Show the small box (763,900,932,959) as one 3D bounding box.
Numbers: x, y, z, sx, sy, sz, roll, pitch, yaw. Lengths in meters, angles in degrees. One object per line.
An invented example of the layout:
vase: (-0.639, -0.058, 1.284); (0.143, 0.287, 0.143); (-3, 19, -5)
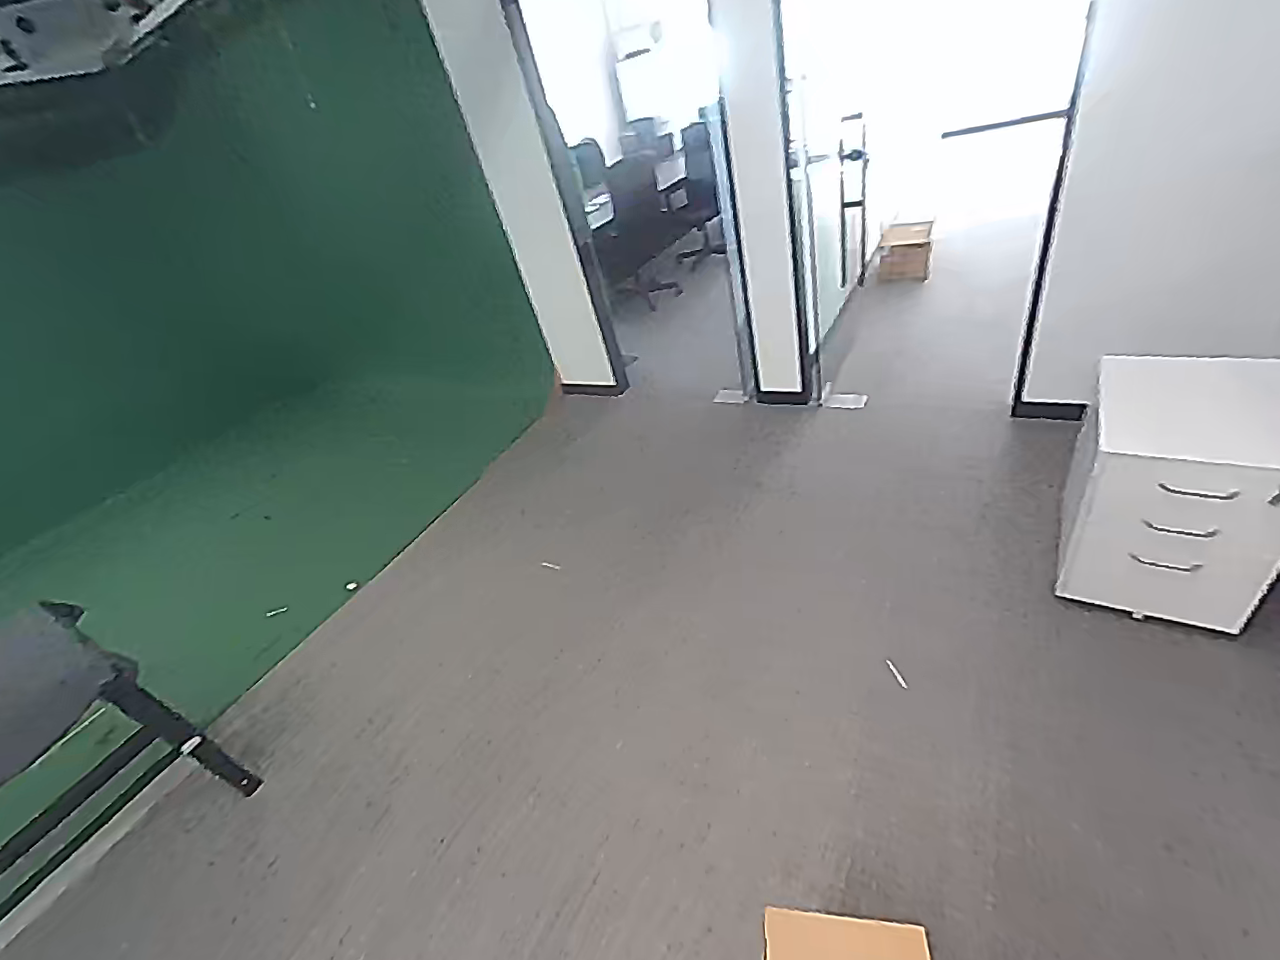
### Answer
small box: (0.233, 0.604, 0.599); (0.179, 0.176, 0.168); (-3, 34, 13)
